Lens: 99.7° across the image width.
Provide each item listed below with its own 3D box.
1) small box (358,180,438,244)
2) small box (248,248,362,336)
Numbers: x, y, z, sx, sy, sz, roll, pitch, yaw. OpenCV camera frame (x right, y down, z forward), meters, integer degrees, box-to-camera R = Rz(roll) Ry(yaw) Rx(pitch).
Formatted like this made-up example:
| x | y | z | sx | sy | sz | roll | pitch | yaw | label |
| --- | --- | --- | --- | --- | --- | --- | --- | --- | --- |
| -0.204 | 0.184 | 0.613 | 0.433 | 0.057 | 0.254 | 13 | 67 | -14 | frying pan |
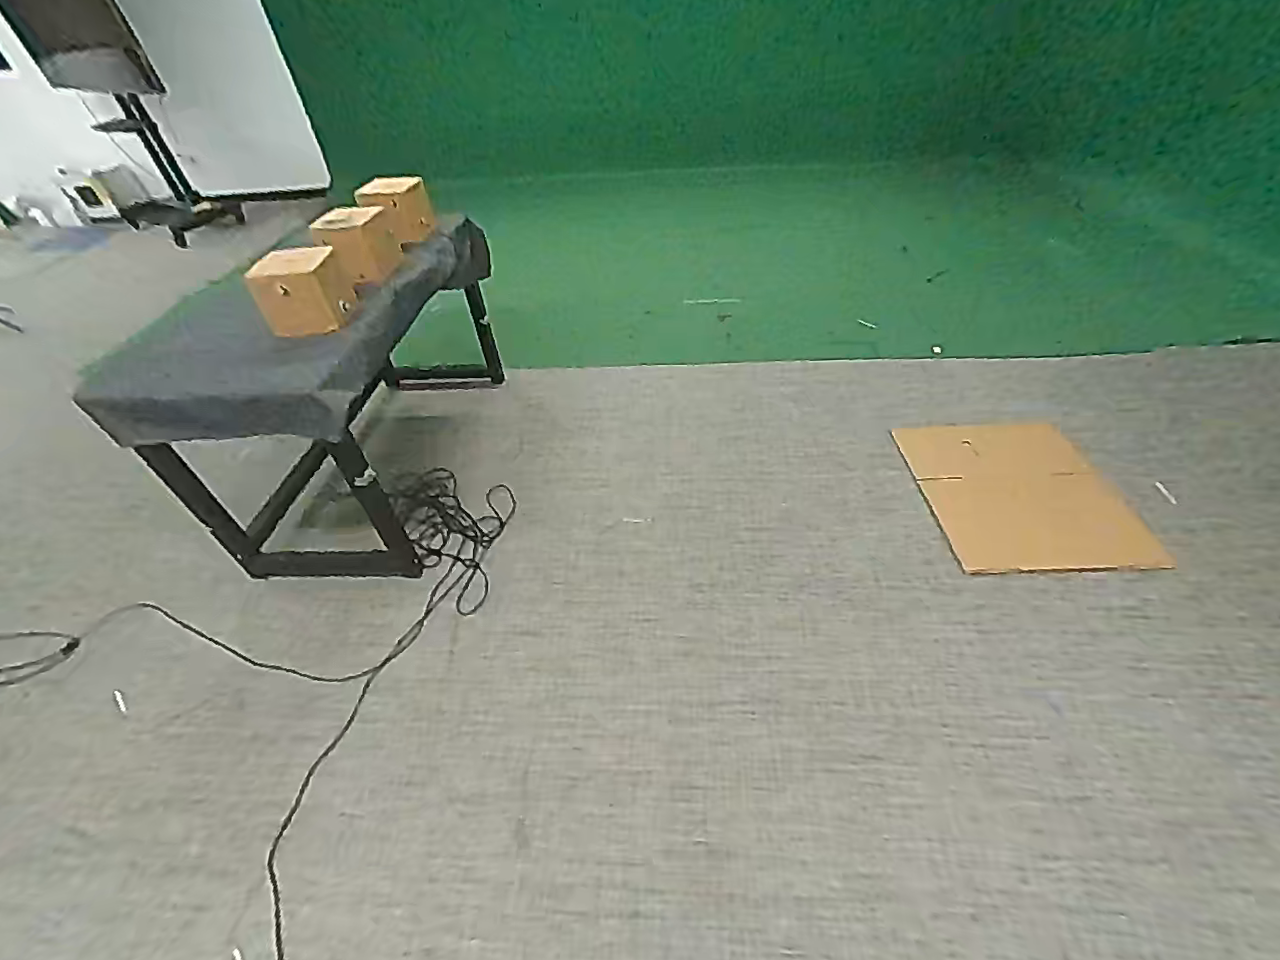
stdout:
| x | y | z | sx | sy | sz | roll | pitch | yaw | label |
| --- | --- | --- | --- | --- | --- | --- | --- | --- | --- |
| -0.849 | -0.946 | 1.915 | 0.179 | 0.176 | 0.168 | 2 | 44 | 8 | small box |
| -0.882 | -0.499 | 1.443 | 0.179 | 0.176 | 0.168 | -5 | 44 | -1 | small box |
